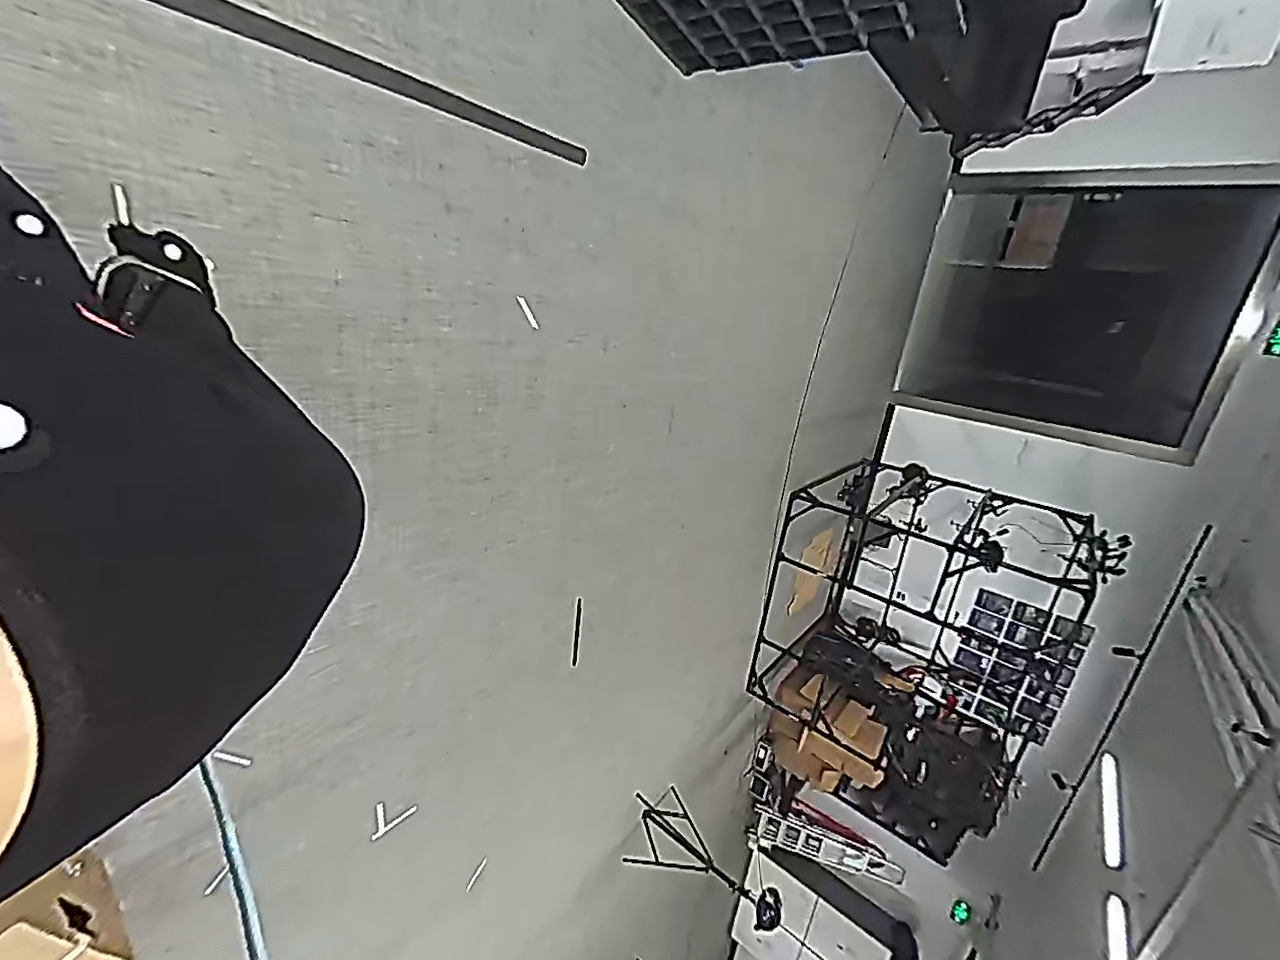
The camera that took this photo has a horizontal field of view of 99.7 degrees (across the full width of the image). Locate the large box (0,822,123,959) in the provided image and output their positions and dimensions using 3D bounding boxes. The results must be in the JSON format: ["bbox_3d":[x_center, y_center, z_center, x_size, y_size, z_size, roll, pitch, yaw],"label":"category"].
[{"bbox_3d":[-1.362,0.975,1.039,0.408,0.320,0.320,-40,137,-35],"label":"large box"}]
